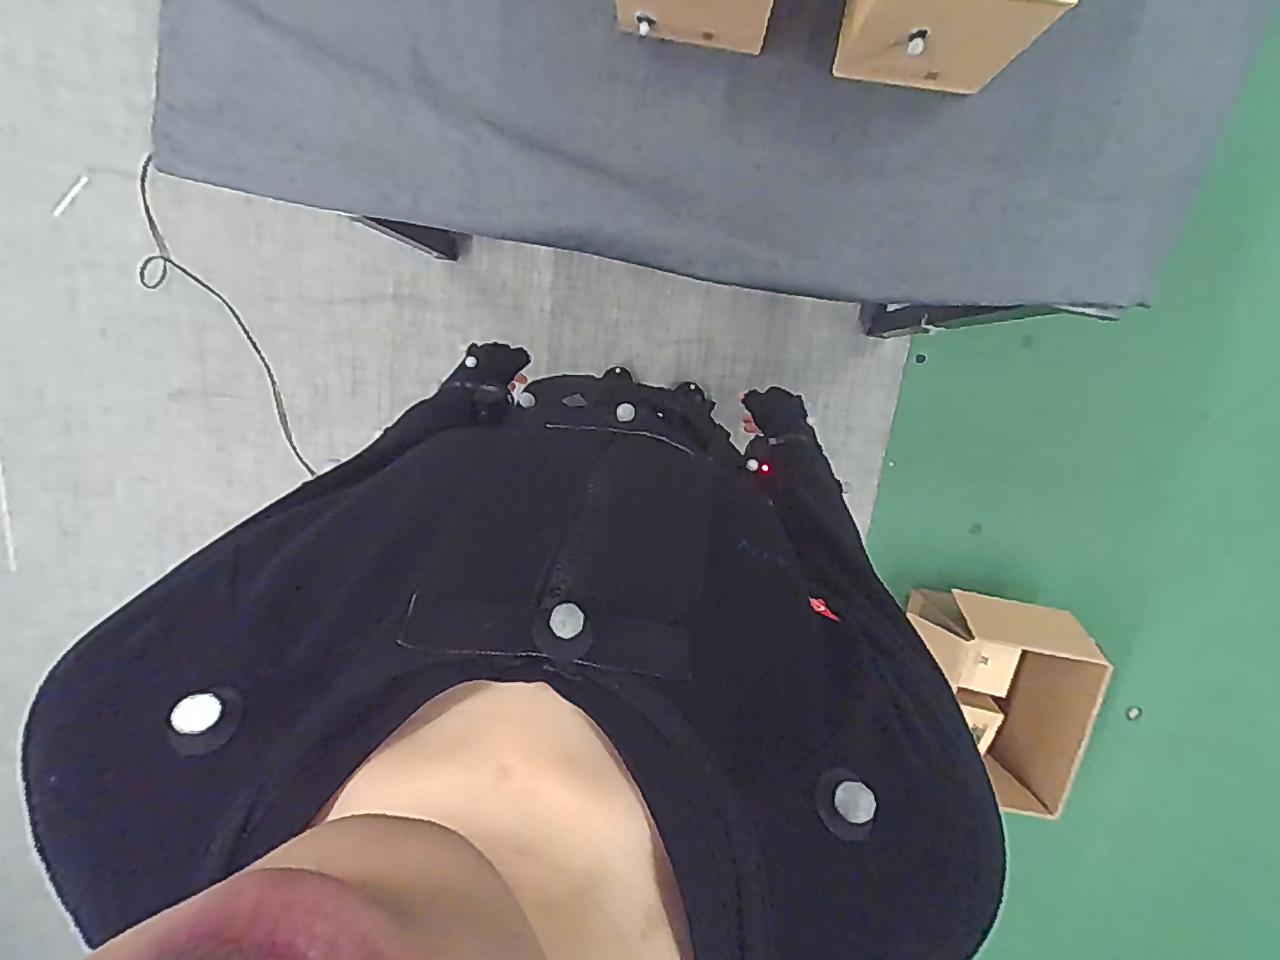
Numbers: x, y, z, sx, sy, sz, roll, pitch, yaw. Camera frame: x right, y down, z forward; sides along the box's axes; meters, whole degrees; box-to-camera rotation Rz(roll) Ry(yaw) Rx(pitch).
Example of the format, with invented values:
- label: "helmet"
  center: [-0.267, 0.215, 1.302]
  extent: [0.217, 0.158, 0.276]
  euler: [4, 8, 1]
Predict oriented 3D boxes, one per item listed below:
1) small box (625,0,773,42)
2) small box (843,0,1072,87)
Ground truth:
- label: "small box"
  center: [0.069, -0.573, 0.522]
  extent: [0.168, 0.176, 0.179]
  euler: [11, 102, 1]
- label: "small box"
  center: [0.310, -0.518, 0.519]
  extent: [0.168, 0.176, 0.179]
  euler: [9, 102, 2]
